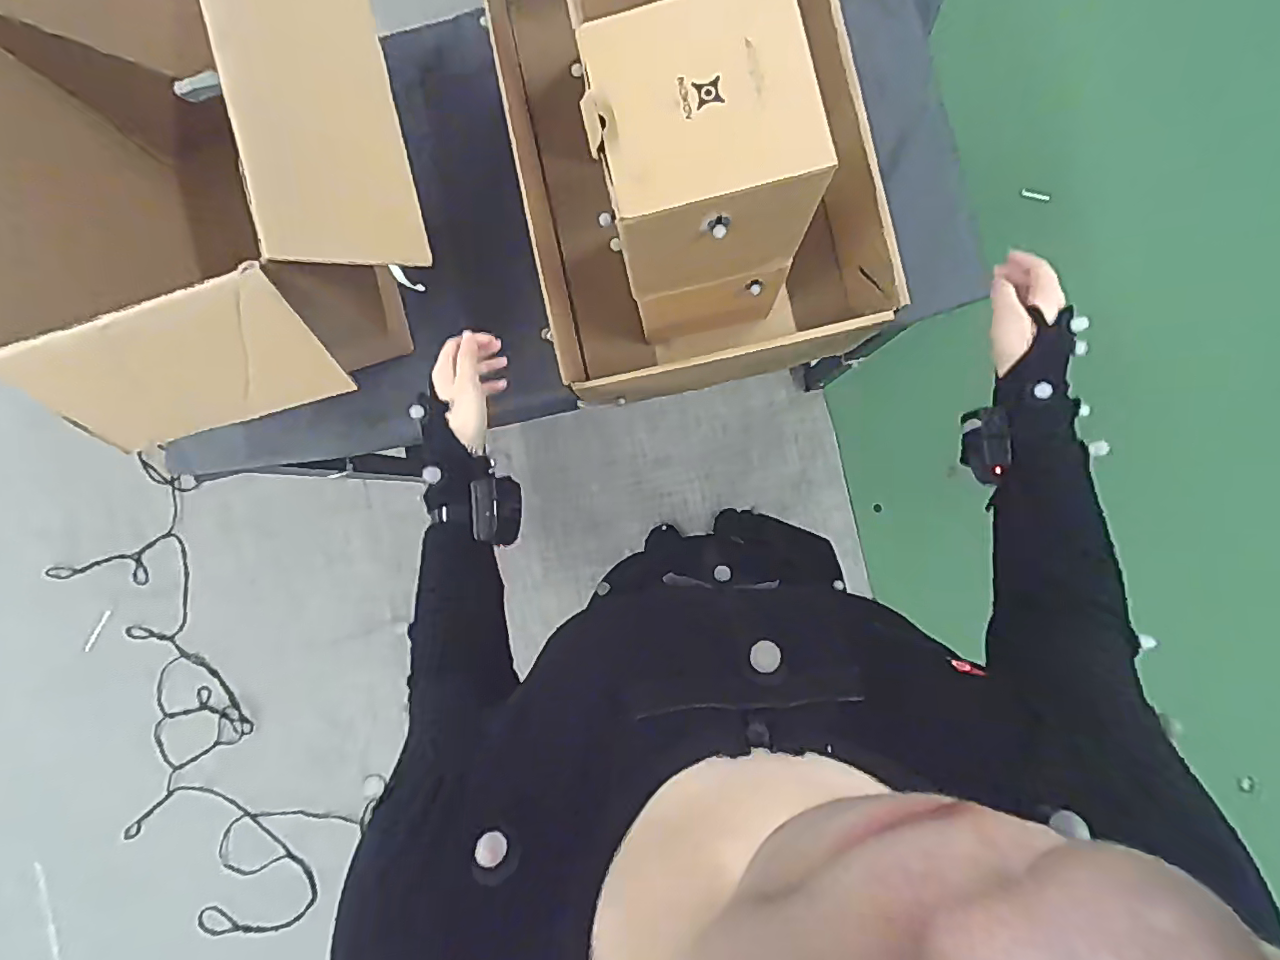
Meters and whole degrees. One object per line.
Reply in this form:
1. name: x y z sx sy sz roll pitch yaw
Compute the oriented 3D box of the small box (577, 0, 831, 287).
1. small box: 0.054 -0.303 0.509 0.179 0.176 0.168 -13 89 2
